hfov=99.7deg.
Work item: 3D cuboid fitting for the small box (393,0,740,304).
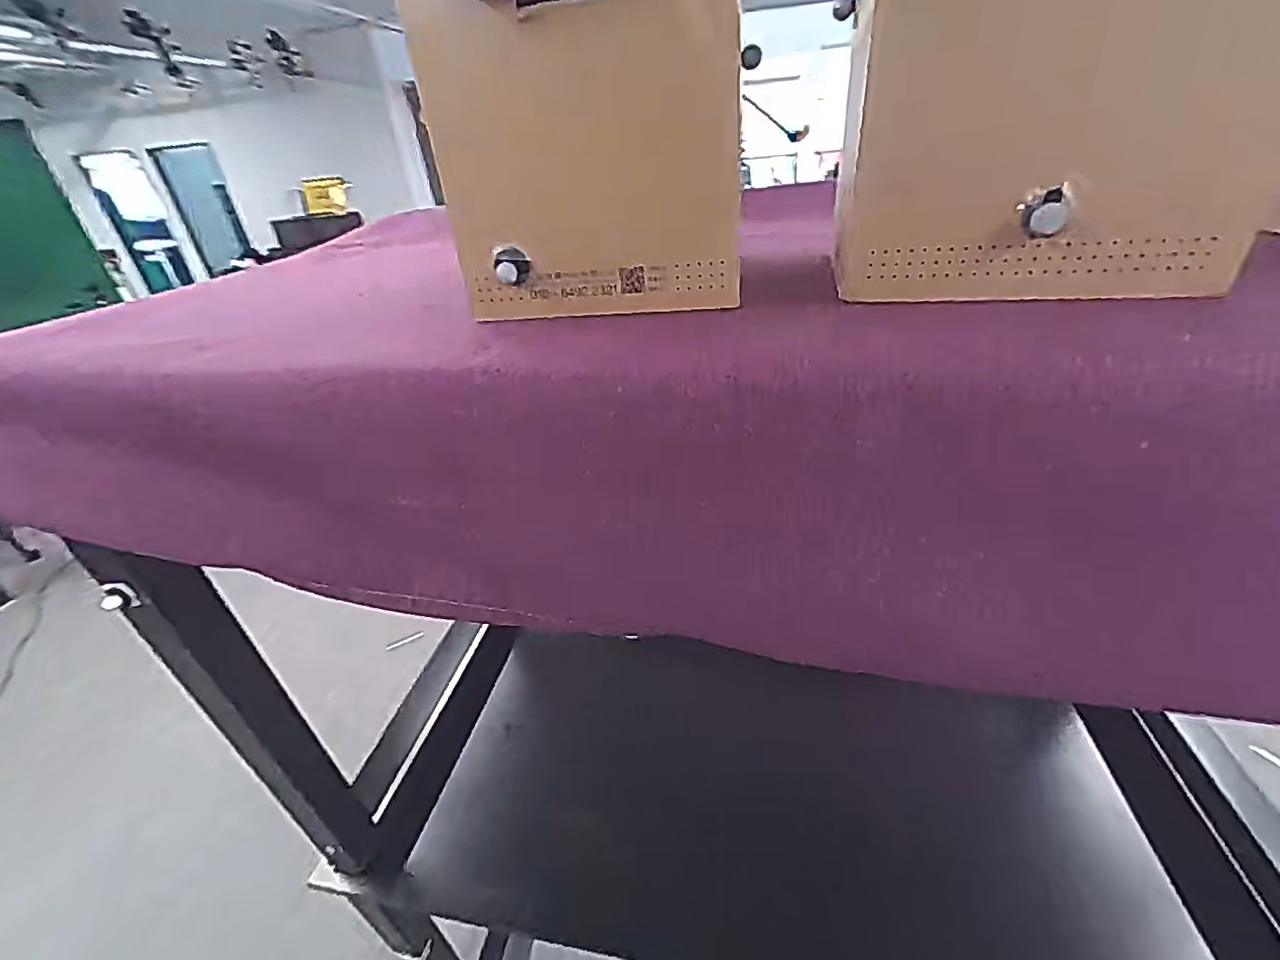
[{"bbox_3d":[-0.020,-0.215,0.350,0.168,0.176,0.179,0,31,9],"label":"small box"}]

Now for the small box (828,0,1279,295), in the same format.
[{"bbox_3d":[0.207,-0.206,0.298,0.179,0.176,0.168,4,32,14],"label":"small box"}]
